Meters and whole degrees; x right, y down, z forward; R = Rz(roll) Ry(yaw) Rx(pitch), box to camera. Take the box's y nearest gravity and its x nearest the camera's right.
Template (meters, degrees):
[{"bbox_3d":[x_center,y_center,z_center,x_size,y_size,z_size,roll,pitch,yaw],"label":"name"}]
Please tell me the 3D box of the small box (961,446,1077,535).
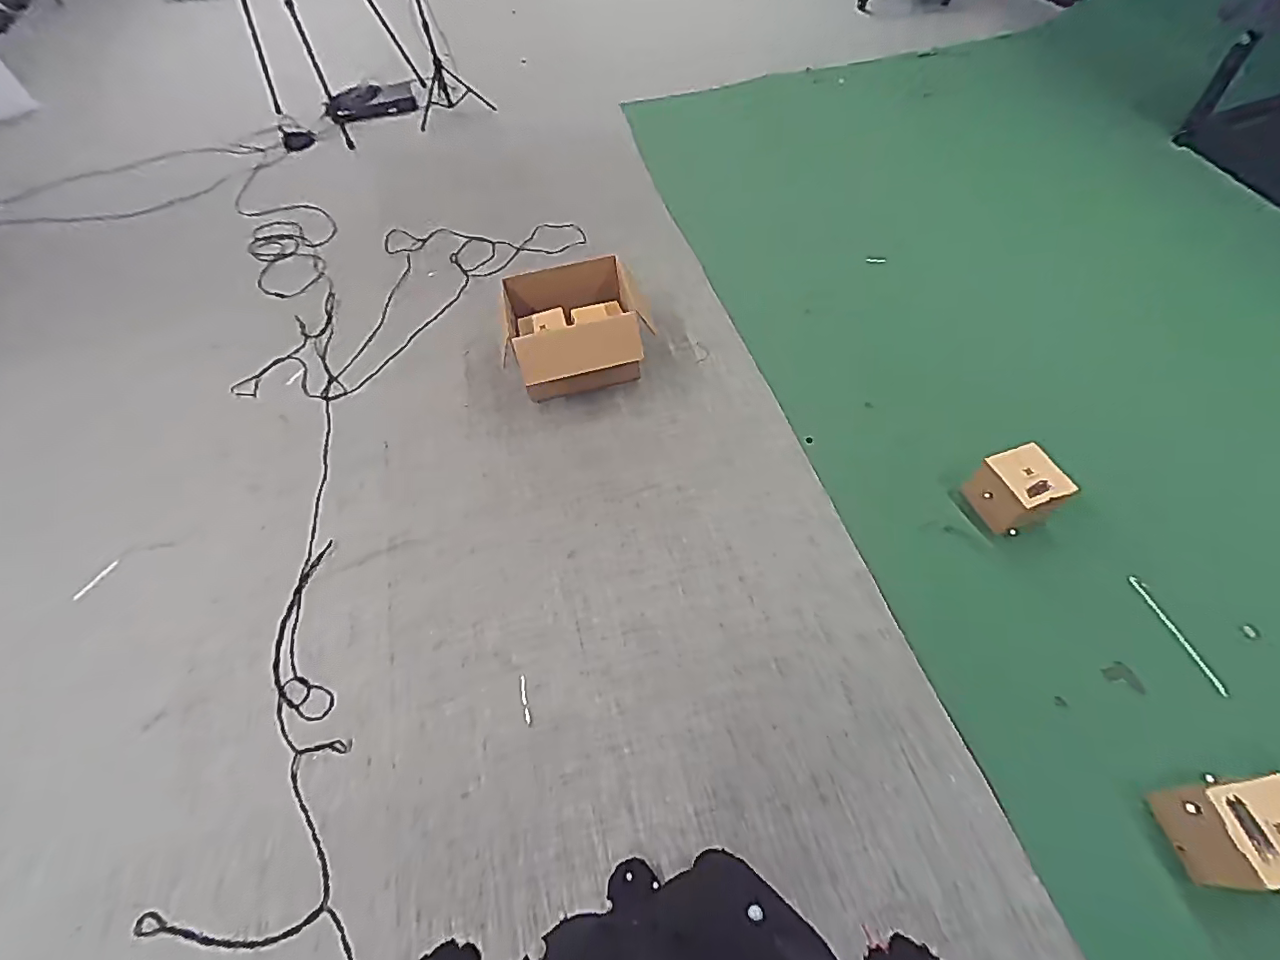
[{"bbox_3d":[1.064,0.037,1.533,0.168,0.176,0.179,-17,56,-7],"label":"small box"}]
